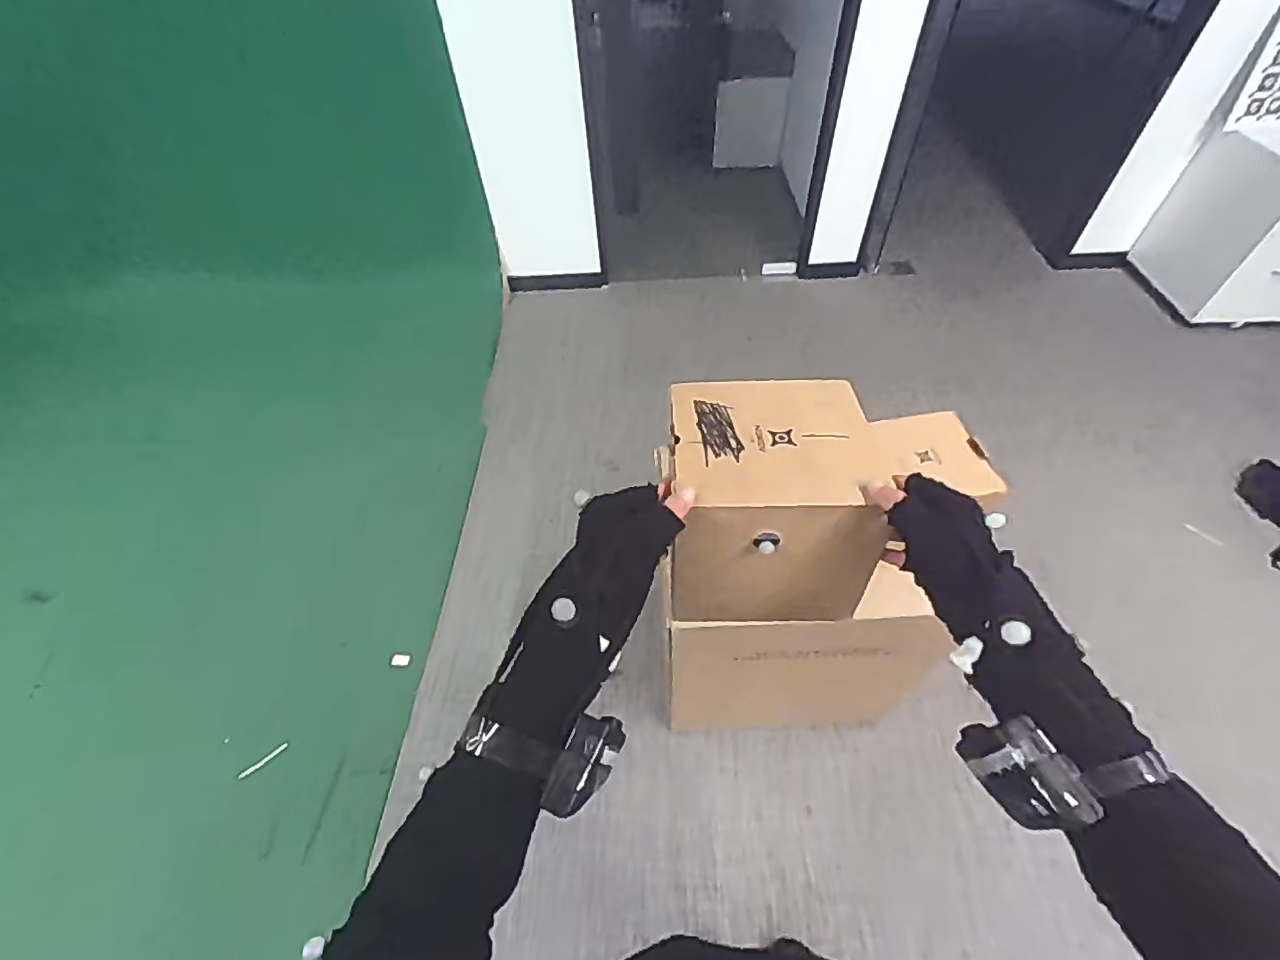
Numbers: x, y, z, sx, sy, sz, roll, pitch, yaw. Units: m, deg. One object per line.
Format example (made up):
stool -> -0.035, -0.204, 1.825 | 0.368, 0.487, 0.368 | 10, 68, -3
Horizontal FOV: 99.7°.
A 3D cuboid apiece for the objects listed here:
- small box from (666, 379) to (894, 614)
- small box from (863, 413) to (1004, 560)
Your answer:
small box -> 0.115, 0.018, 0.528 | 0.179, 0.176, 0.168 | -1, 45, 2
small box -> 0.445, 0.014, 0.902 | 0.179, 0.176, 0.168 | -10, 53, -2
